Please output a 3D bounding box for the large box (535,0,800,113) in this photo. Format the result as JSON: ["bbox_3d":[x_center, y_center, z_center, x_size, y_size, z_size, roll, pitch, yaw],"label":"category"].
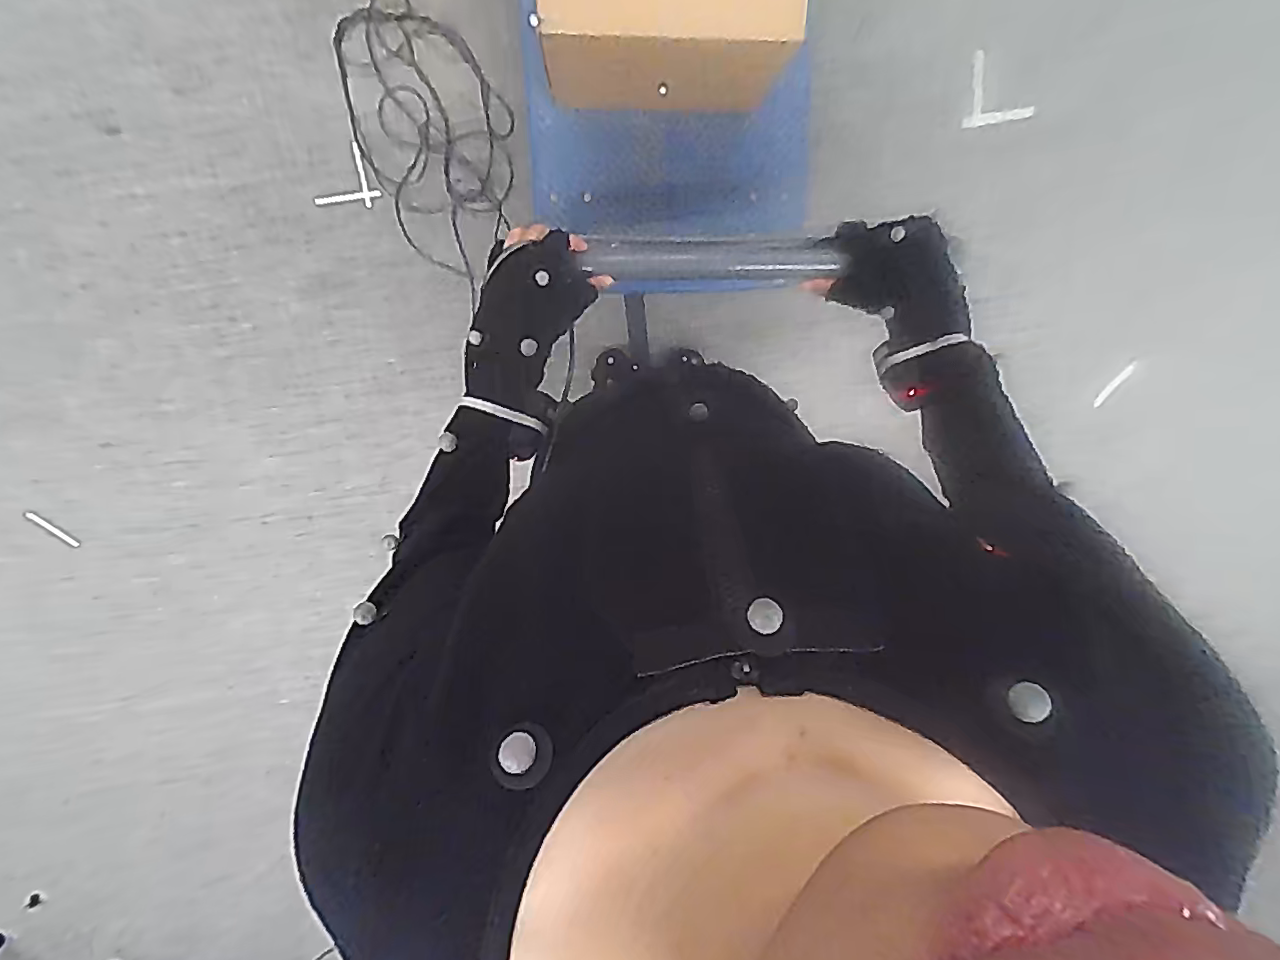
[{"bbox_3d":[0.036,-0.851,0.920,0.408,0.320,0.320,-1,106,-3],"label":"large box"}]
